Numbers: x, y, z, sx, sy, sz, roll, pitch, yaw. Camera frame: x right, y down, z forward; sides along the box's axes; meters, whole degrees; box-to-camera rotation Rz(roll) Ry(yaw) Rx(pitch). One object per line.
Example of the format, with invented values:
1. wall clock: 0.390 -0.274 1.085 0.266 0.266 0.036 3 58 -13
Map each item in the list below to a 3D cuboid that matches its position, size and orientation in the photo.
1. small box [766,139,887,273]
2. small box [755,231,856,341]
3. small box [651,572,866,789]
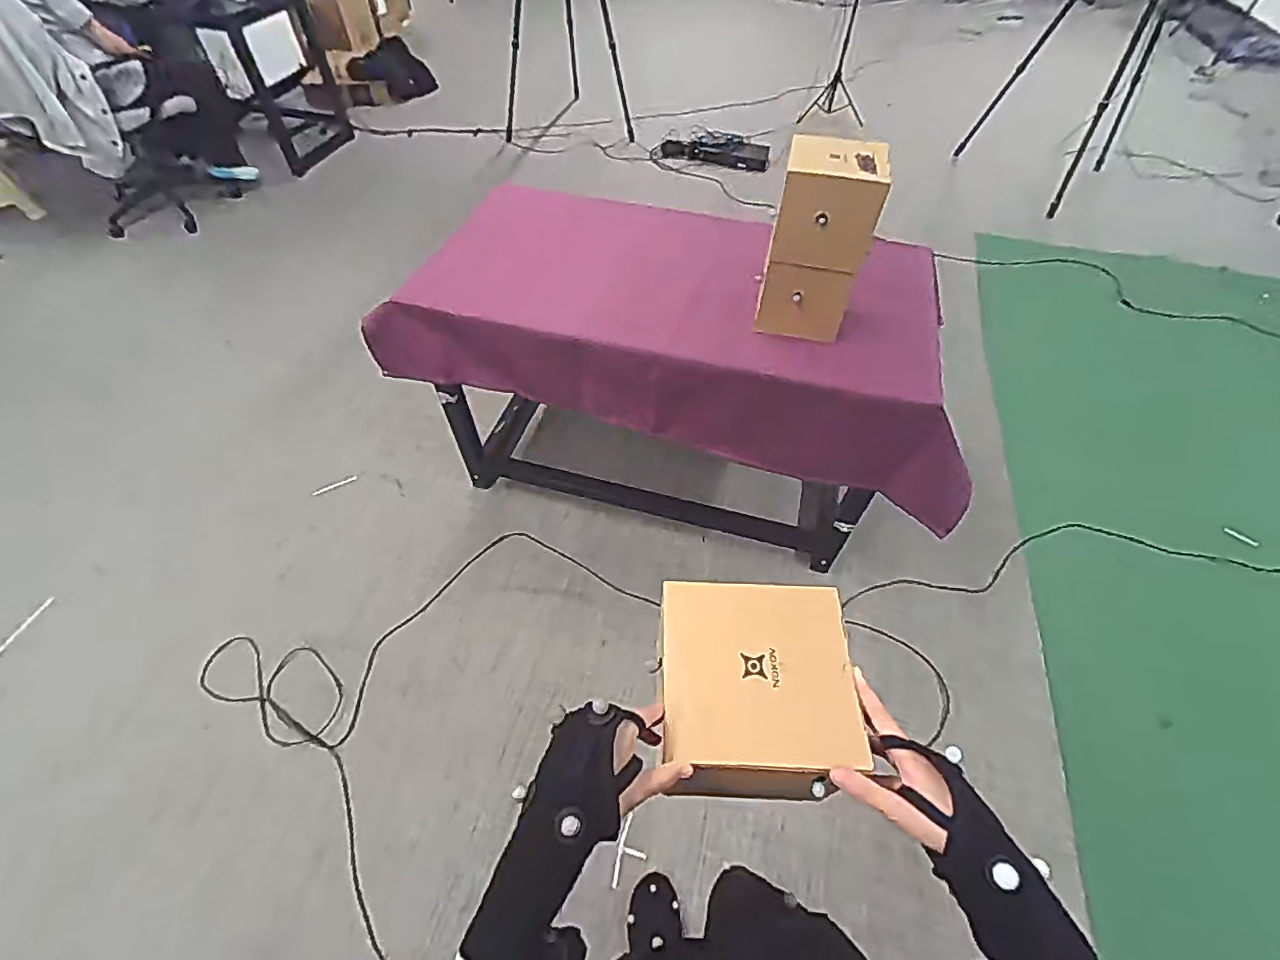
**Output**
1. small box: 0.349 -0.518 1.029 0.179 0.176 0.168 11 52 9
2. small box: 0.350 -0.419 1.160 0.179 0.176 0.168 10 53 8
3. small box: 0.102 0.211 0.557 0.179 0.176 0.168 3 51 -1
